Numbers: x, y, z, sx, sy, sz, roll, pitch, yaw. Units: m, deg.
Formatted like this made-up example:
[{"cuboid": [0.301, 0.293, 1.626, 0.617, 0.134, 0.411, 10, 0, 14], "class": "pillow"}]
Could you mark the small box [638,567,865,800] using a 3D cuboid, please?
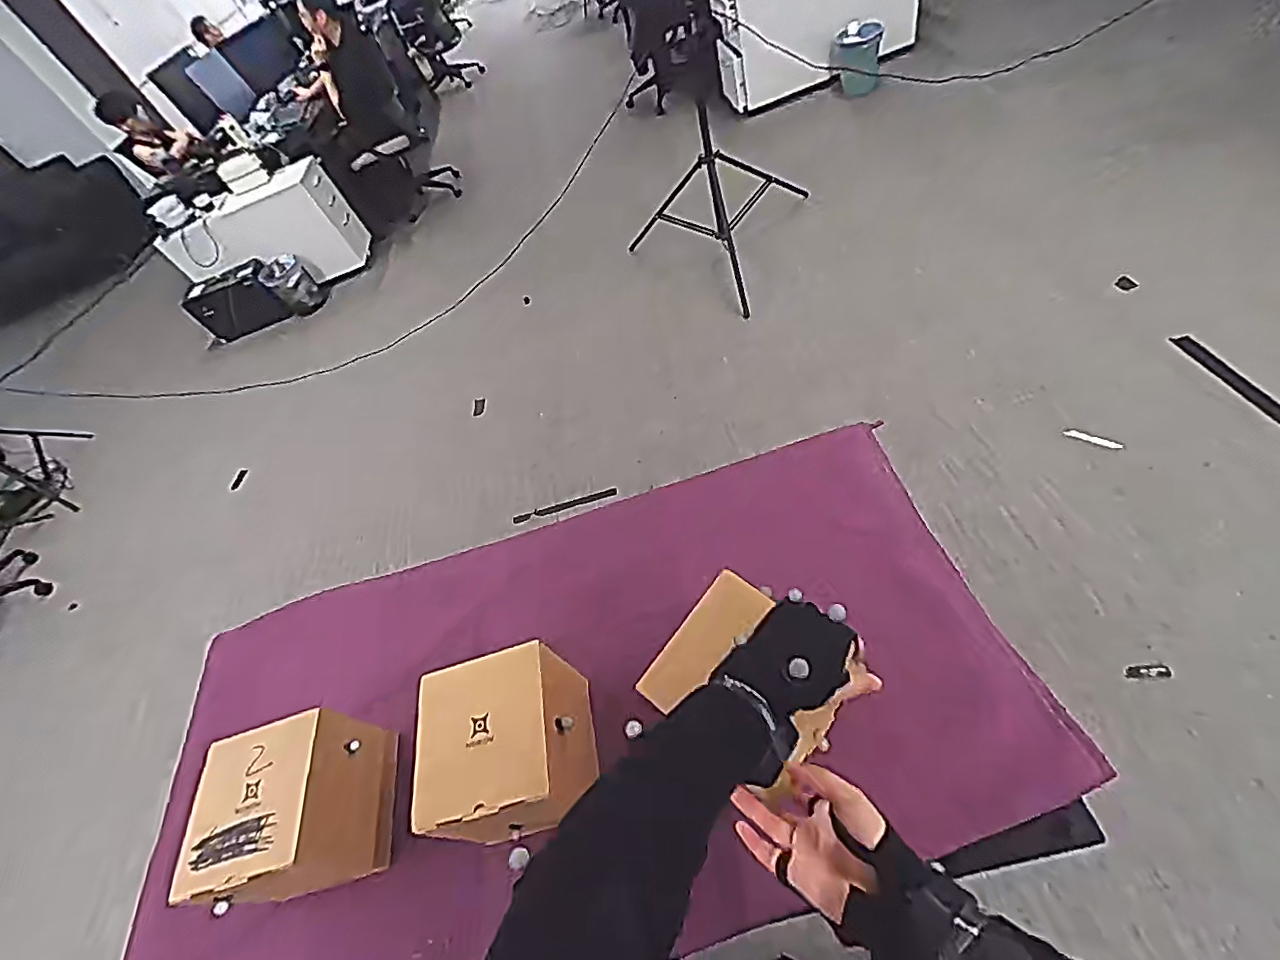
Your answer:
[{"cuboid": [0.128, 0.237, 0.629, 0.179, 0.176, 0.168, 38, 78, 28], "class": "small box"}]

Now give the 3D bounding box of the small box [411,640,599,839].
[{"cuboid": [-0.164, 0.335, 0.689, 0.168, 0.176, 0.179, -19, 51, 6], "class": "small box"}]
